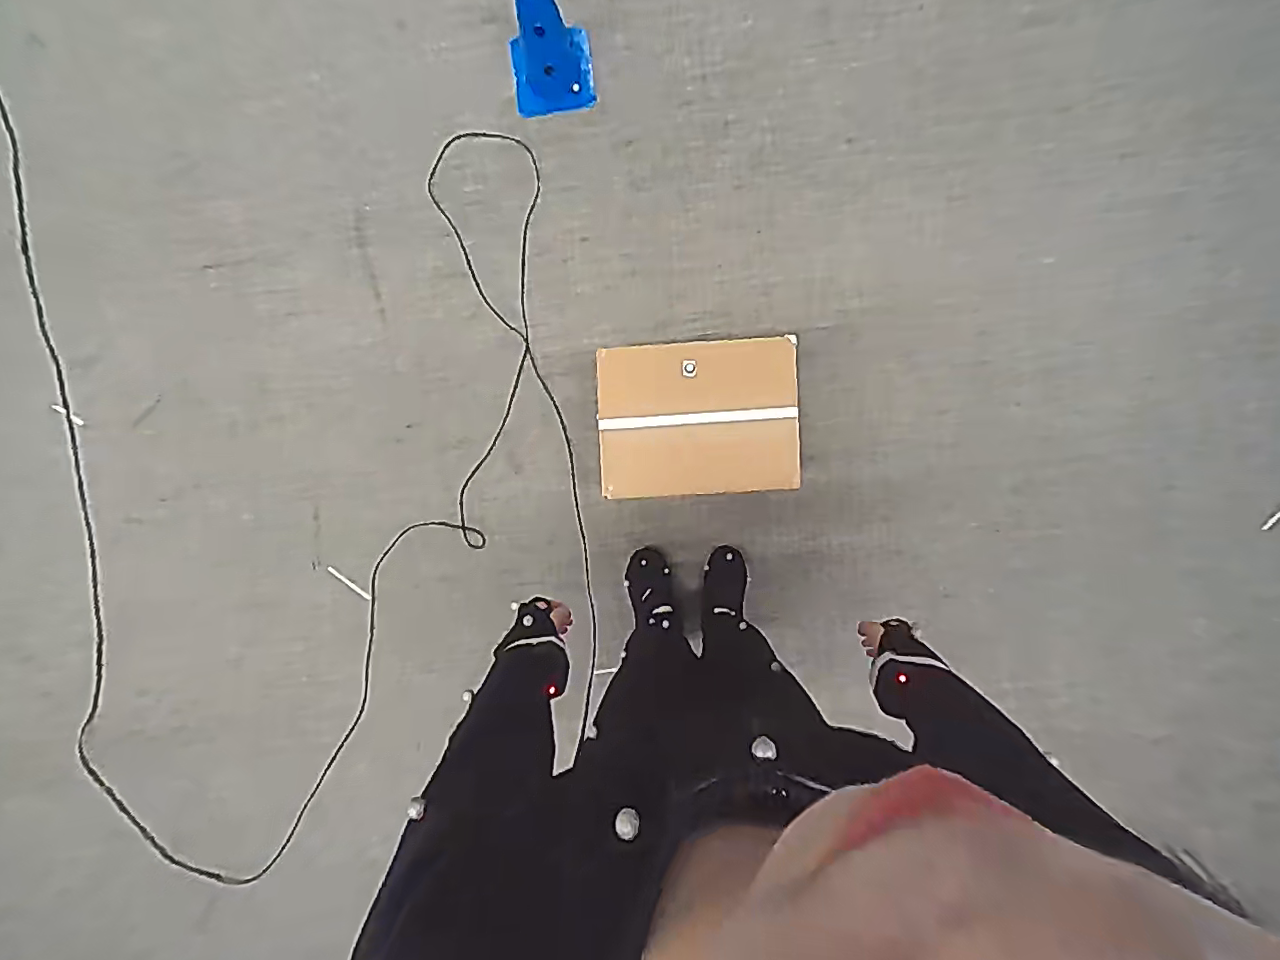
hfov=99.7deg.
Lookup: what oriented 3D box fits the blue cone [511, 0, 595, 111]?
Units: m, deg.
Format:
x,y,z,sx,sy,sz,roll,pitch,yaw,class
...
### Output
x,y,z,sx,sy,sz,roll,pitch,yaw,class
-0.218,-1.014,1.170,0.193,0.380,0.192,-10,93,1,blue cone
